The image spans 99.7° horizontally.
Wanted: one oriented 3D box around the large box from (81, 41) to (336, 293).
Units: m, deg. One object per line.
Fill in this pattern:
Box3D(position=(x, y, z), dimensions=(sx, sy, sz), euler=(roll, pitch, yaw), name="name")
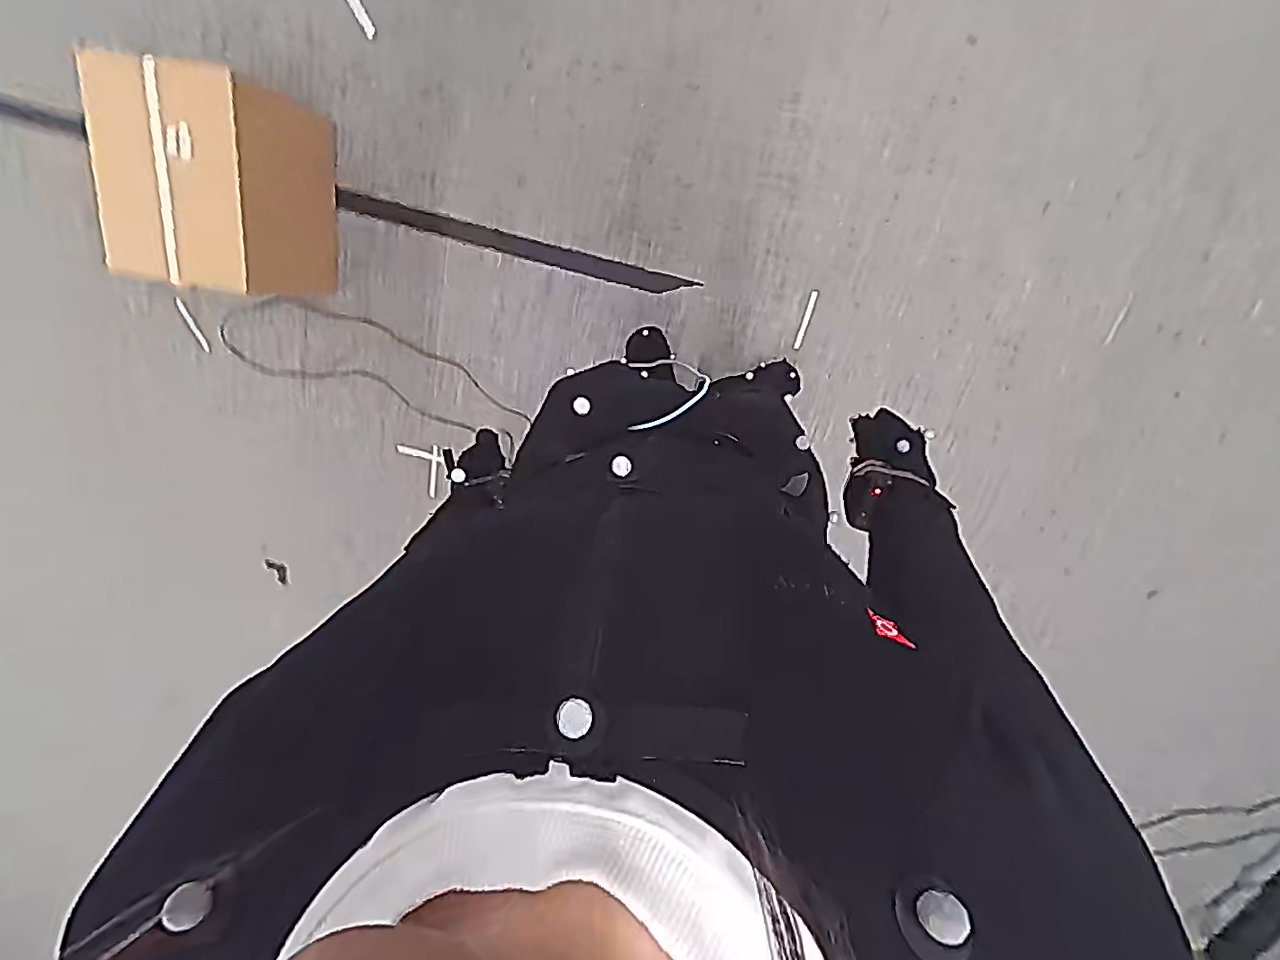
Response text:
Box3D(position=(-0.921, -0.655, 1.211), dimensions=(0.320, 0.320, 0.408), euler=(11, 108, 1), name="large box")
